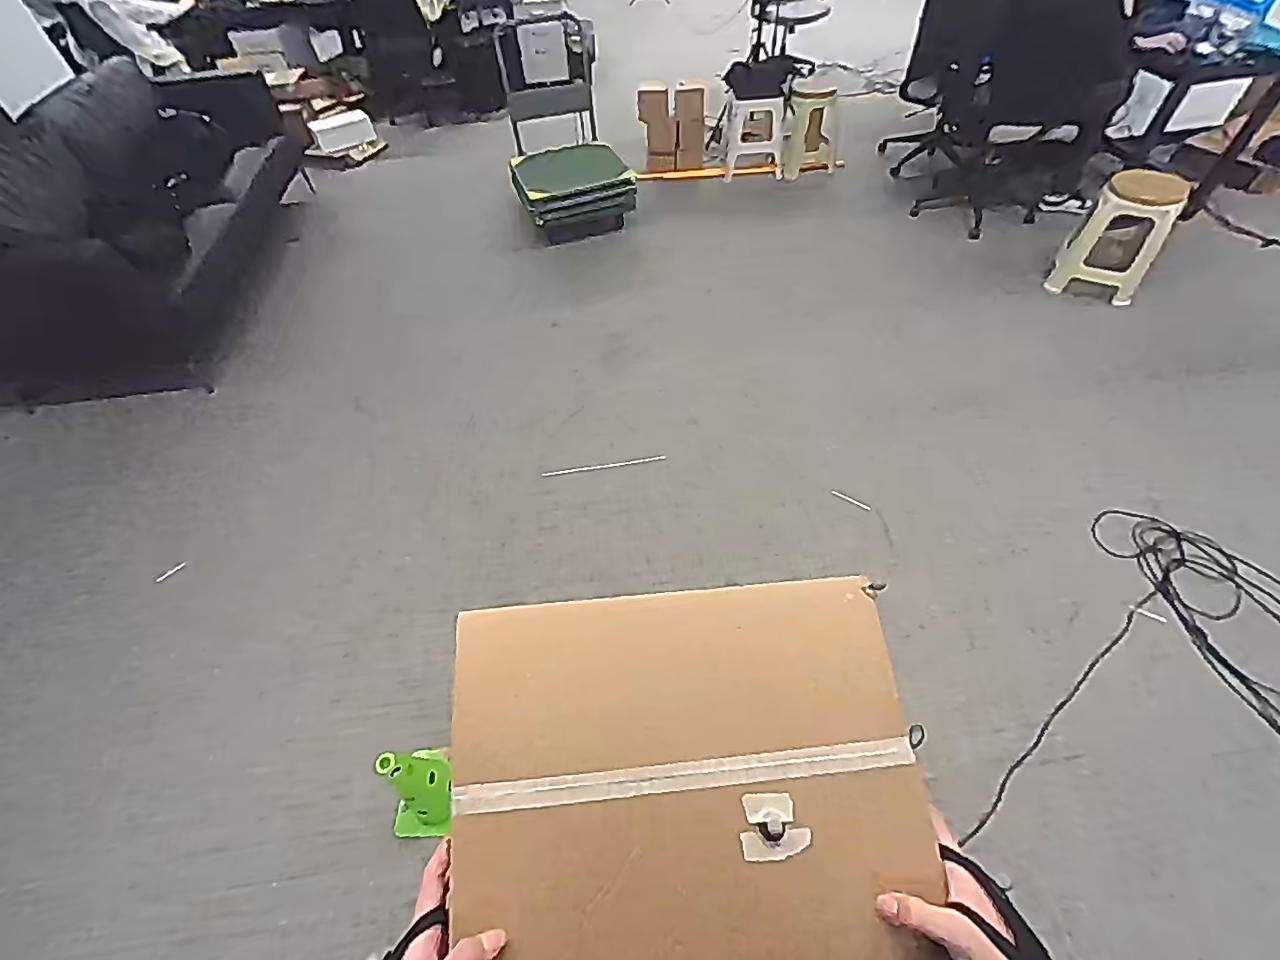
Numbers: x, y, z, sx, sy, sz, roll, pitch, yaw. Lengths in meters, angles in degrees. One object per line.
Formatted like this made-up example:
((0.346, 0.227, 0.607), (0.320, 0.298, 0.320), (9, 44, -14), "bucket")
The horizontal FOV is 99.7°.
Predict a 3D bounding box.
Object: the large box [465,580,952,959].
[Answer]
((0.040, 0.317, 0.621), (0.408, 0.320, 0.320), (-5, 69, -4), "large box")

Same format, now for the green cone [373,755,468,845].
((-0.533, 0.727, 1.275), (0.200, 0.368, 0.202), (-3, 53, 2), "green cone")
